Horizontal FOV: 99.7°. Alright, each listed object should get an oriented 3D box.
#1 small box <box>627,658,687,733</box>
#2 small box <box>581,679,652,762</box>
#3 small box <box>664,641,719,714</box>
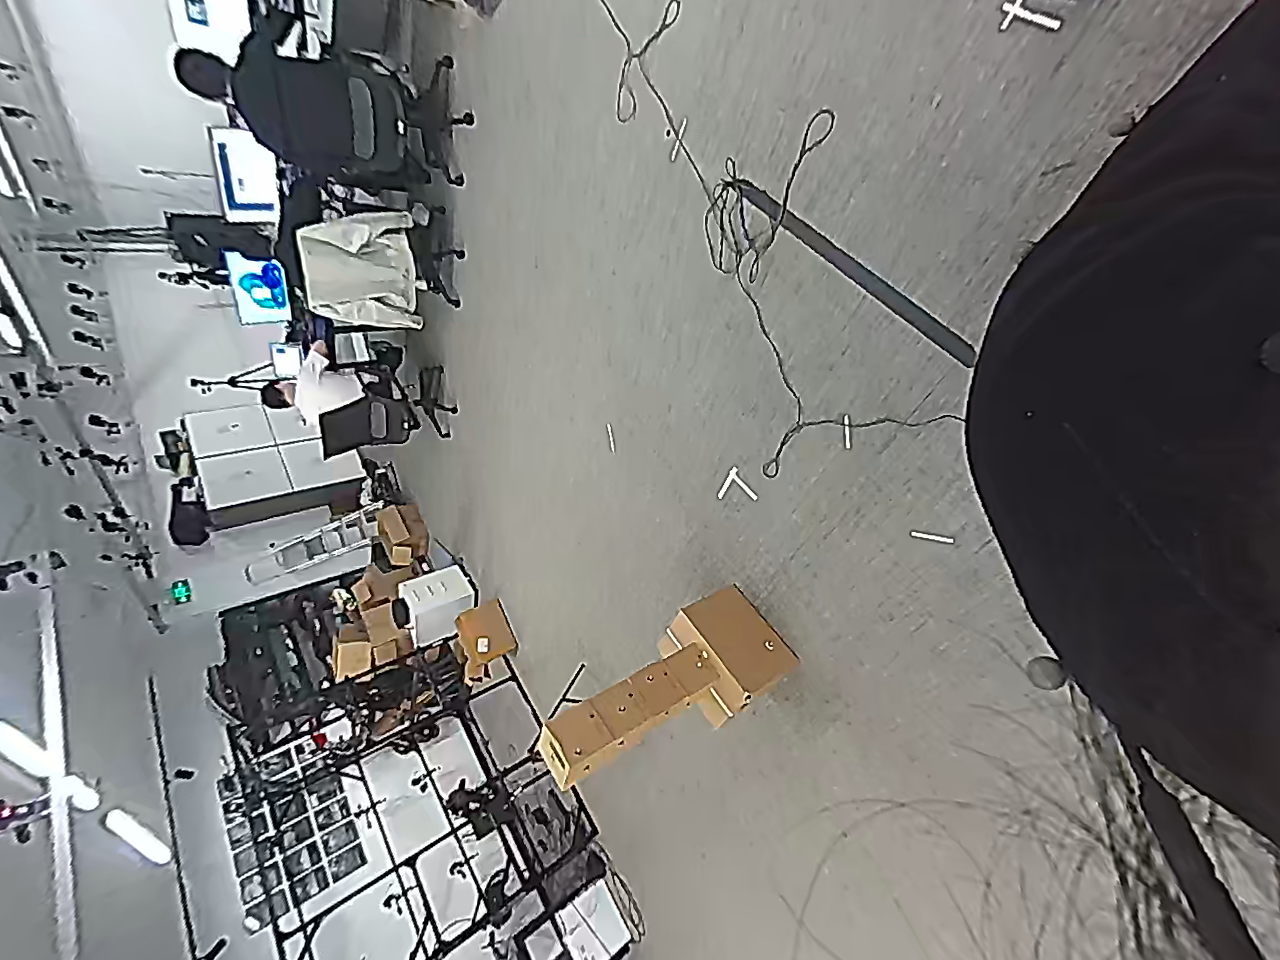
[{"bbox_3d":[0.048,0.781,1.963,0.168,0.176,0.179,49,139,30],"label":"small box"},{"bbox_3d":[-0.079,0.825,1.867,0.168,0.176,0.179,47,136,34],"label":"small box"},{"bbox_3d":[0.174,0.749,2.059,0.168,0.176,0.179,49,137,29],"label":"small box"}]
